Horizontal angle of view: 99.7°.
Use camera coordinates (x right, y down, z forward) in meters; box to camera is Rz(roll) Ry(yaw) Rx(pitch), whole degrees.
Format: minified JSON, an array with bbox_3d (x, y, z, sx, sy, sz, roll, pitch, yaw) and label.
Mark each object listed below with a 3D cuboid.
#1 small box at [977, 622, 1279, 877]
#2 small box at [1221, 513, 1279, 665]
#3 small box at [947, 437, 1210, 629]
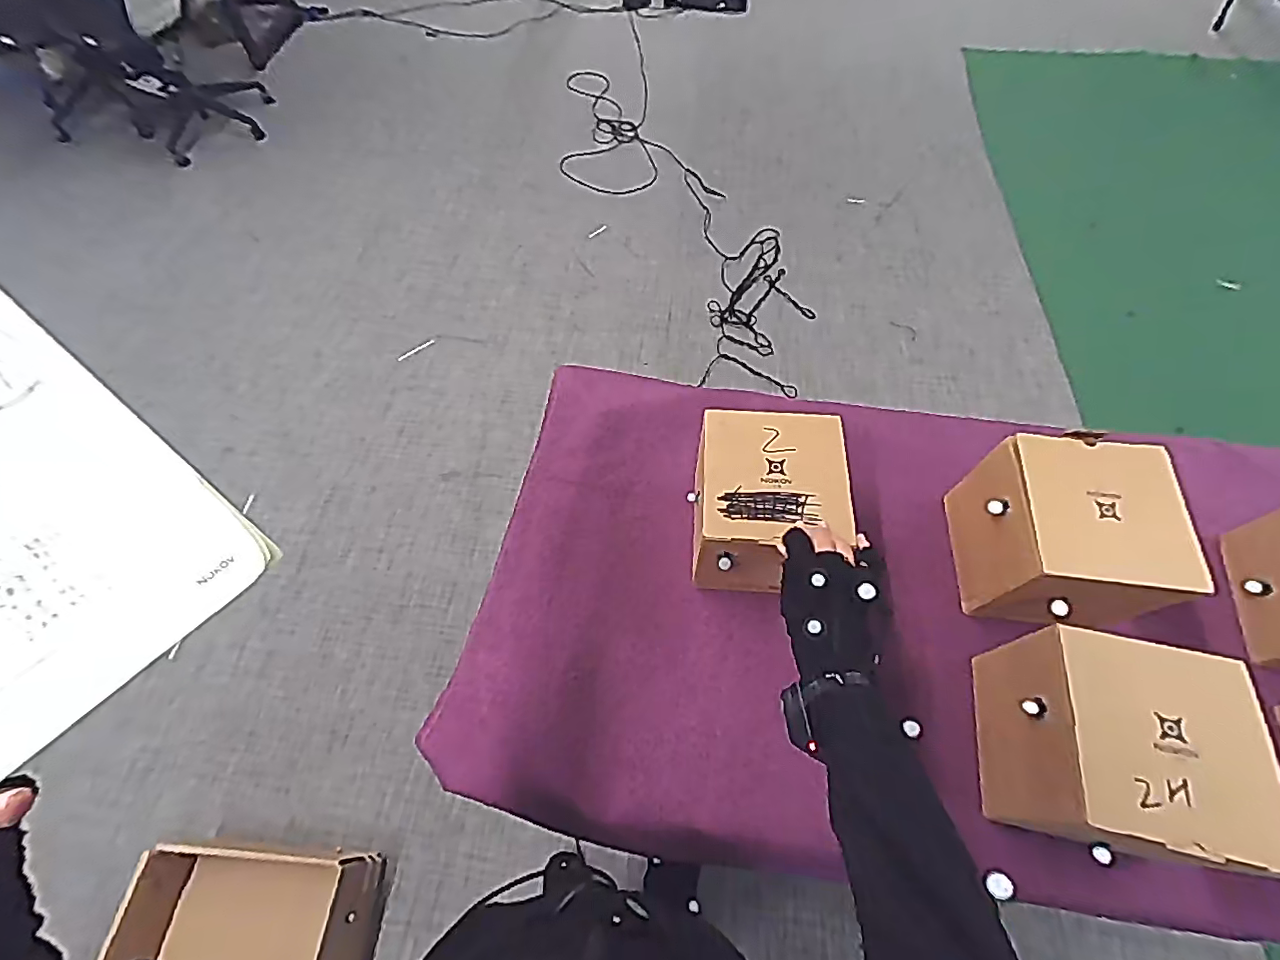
[{"bbox_3d":[0.467,0.266,0.544,0.168,0.176,0.179,11,61,8],"label":"small box"},{"bbox_3d":[0.837,0.130,0.612,0.168,0.176,0.179,12,62,8],"label":"small box"},{"bbox_3d":[0.504,0.072,0.658,0.168,0.176,0.179,6,60,5],"label":"small box"}]
